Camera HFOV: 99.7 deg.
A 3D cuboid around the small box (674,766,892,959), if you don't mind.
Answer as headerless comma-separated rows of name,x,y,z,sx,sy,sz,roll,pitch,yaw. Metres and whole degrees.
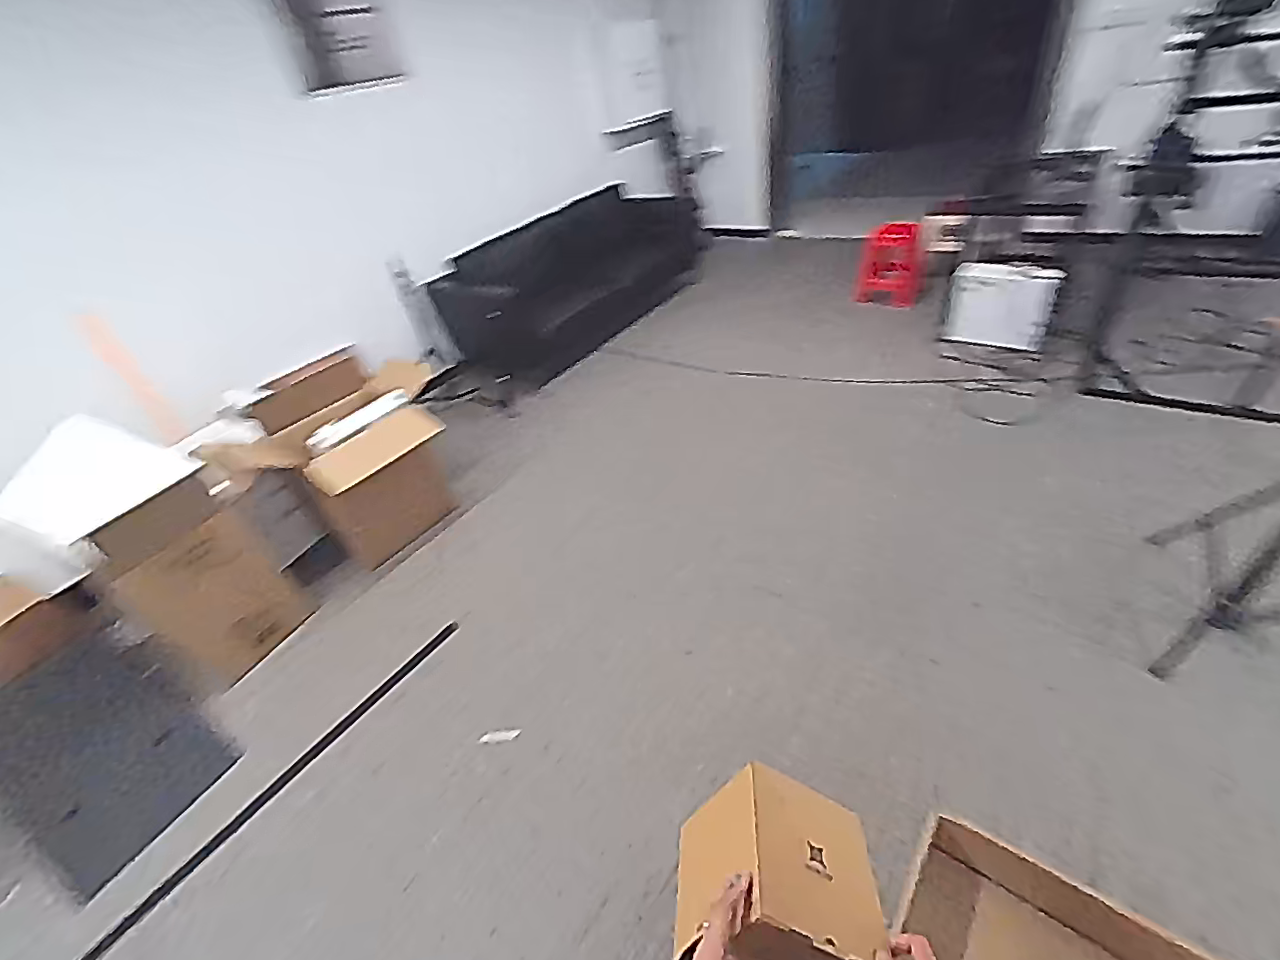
small box,0.152,0.486,0.629,0.168,0.176,0.179,30,25,-8
